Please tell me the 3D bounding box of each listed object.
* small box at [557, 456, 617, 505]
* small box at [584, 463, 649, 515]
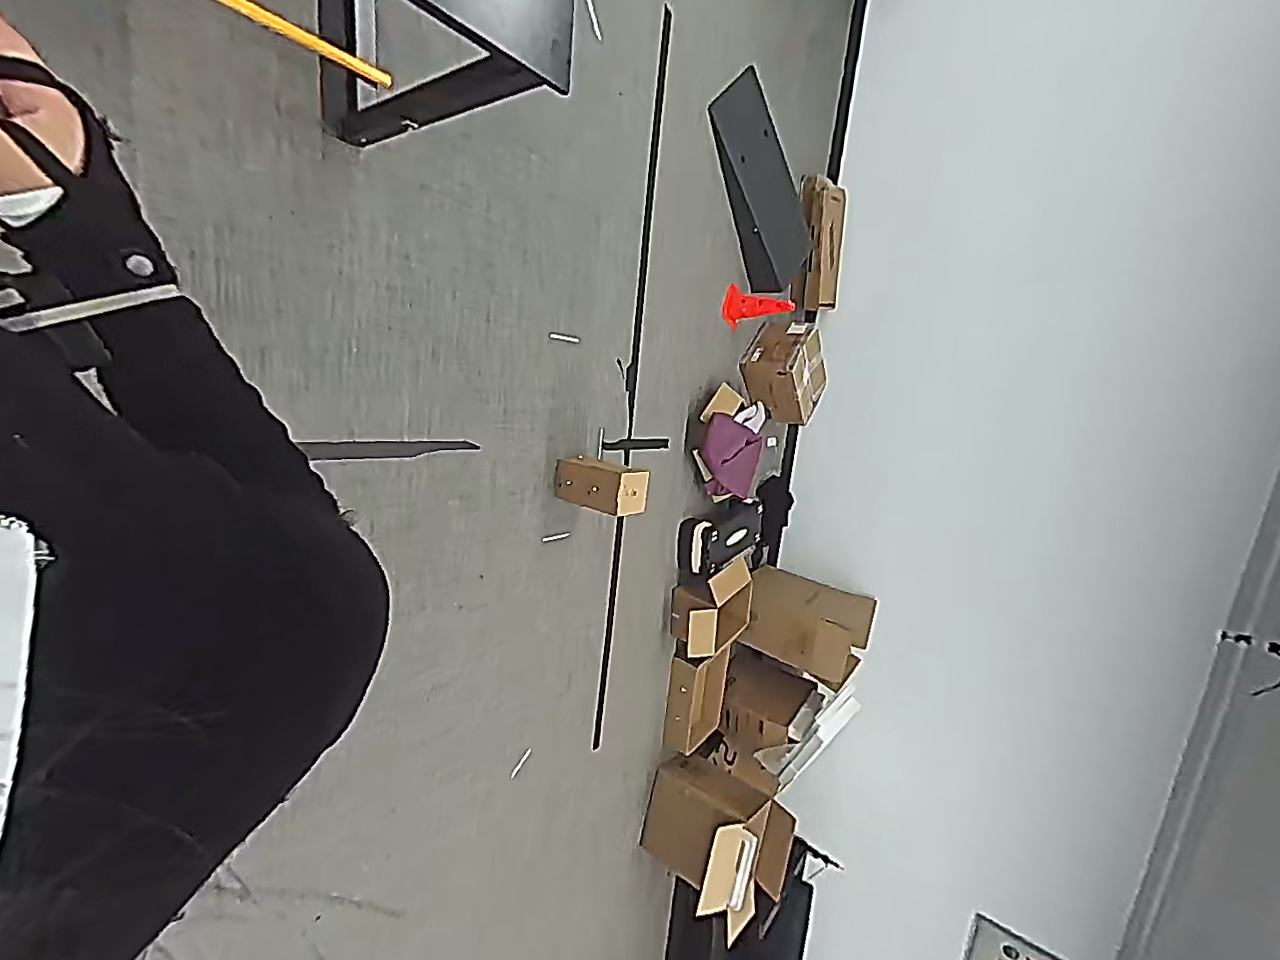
[{"bbox_3d":[-0.217,-0.003,2.187,0.179,0.176,0.168,-8,108,-52],"label":"small box"},{"bbox_3d":[-0.090,0.028,2.084,0.179,0.176,0.168,-5,106,-52],"label":"small box"}]
